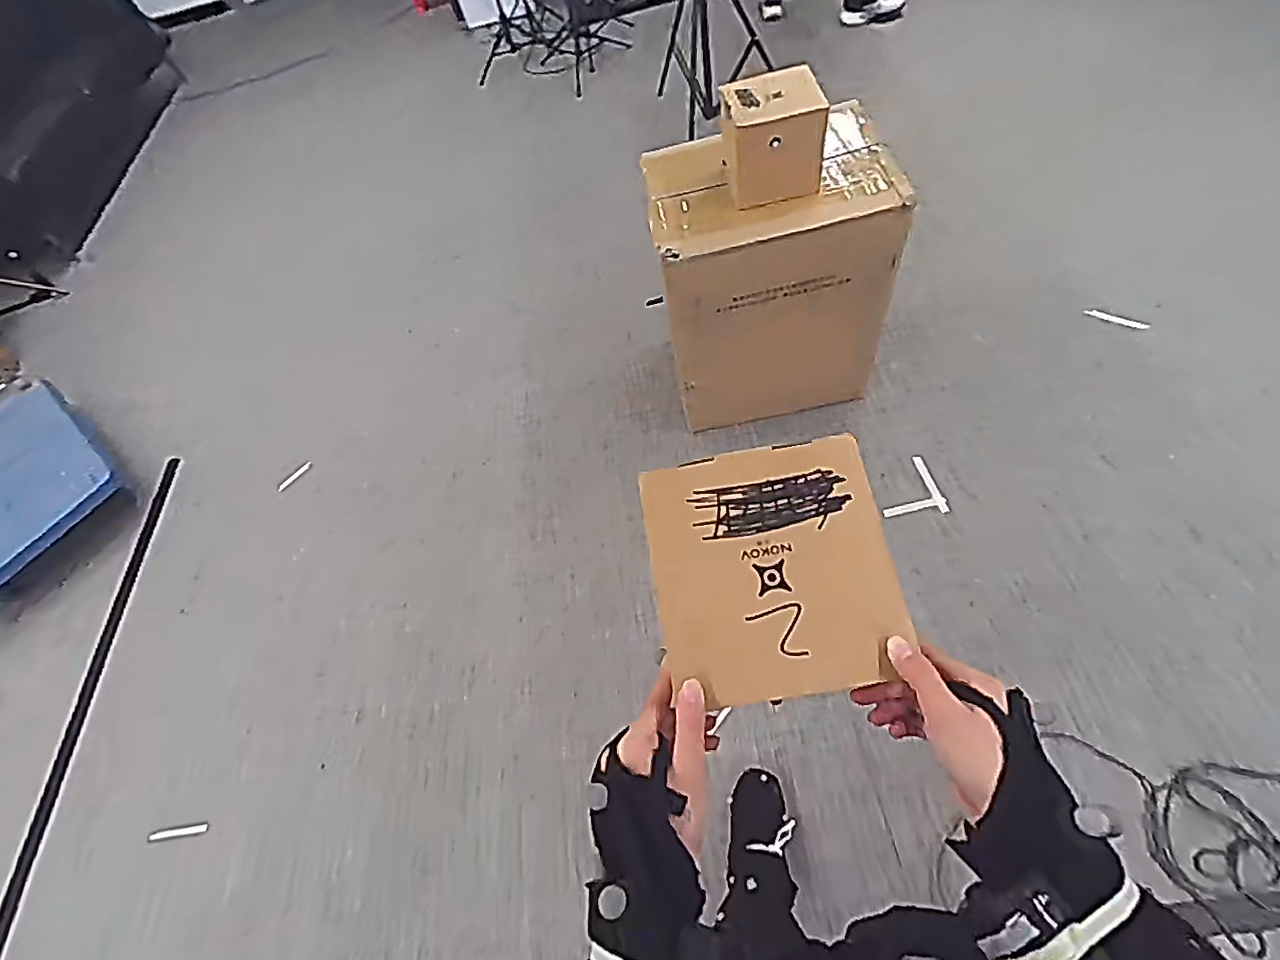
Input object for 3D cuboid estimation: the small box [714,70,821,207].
[{"bbox_3d":[0.257,-0.691,1.108,0.179,0.176,0.168,-10,59,5],"label":"small box"}]
